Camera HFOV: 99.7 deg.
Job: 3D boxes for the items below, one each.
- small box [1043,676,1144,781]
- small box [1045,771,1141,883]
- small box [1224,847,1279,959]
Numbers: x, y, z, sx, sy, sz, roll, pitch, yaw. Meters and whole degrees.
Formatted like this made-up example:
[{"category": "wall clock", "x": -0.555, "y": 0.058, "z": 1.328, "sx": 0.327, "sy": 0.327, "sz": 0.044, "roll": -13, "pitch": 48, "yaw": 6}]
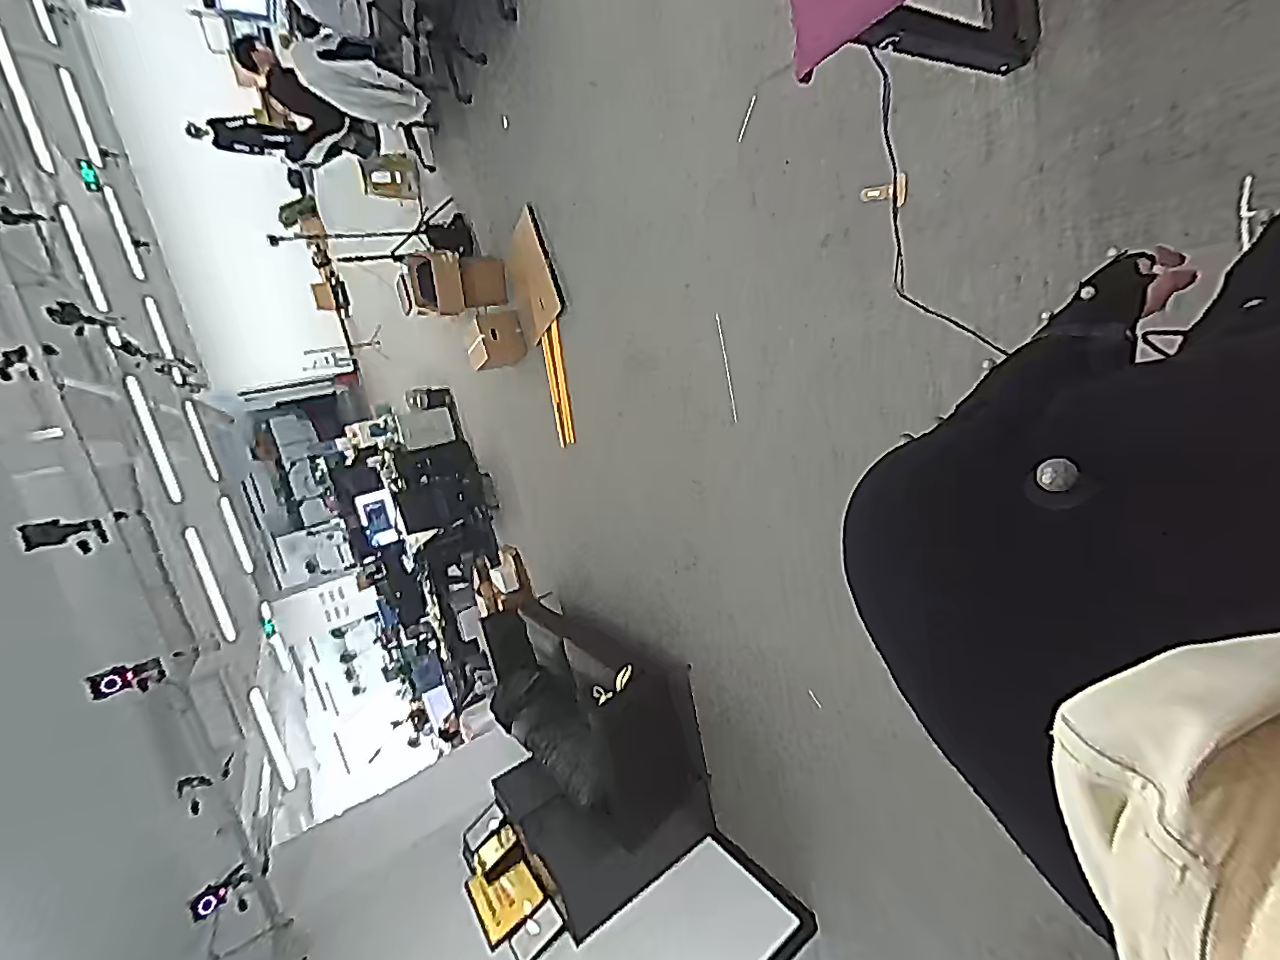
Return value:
[{"category": "small box", "x": 1.229, "y": 0.659, "z": 1.461, "sx": 0.179, "sy": 0.176, "sz": 0.168, "roll": 6, "pitch": 111, "yaw": 57}, {"category": "small box", "x": 1.287, "y": 0.970, "z": 1.533, "sx": 0.179, "sy": 0.176, "sz": 0.168, "roll": 6, "pitch": 111, "yaw": 57}, {"category": "small box", "x": 1.485, "y": 0.989, "z": 1.235, "sx": 0.179, "sy": 0.176, "sz": 0.168, "roll": 7, "pitch": 113, "yaw": 56}]
